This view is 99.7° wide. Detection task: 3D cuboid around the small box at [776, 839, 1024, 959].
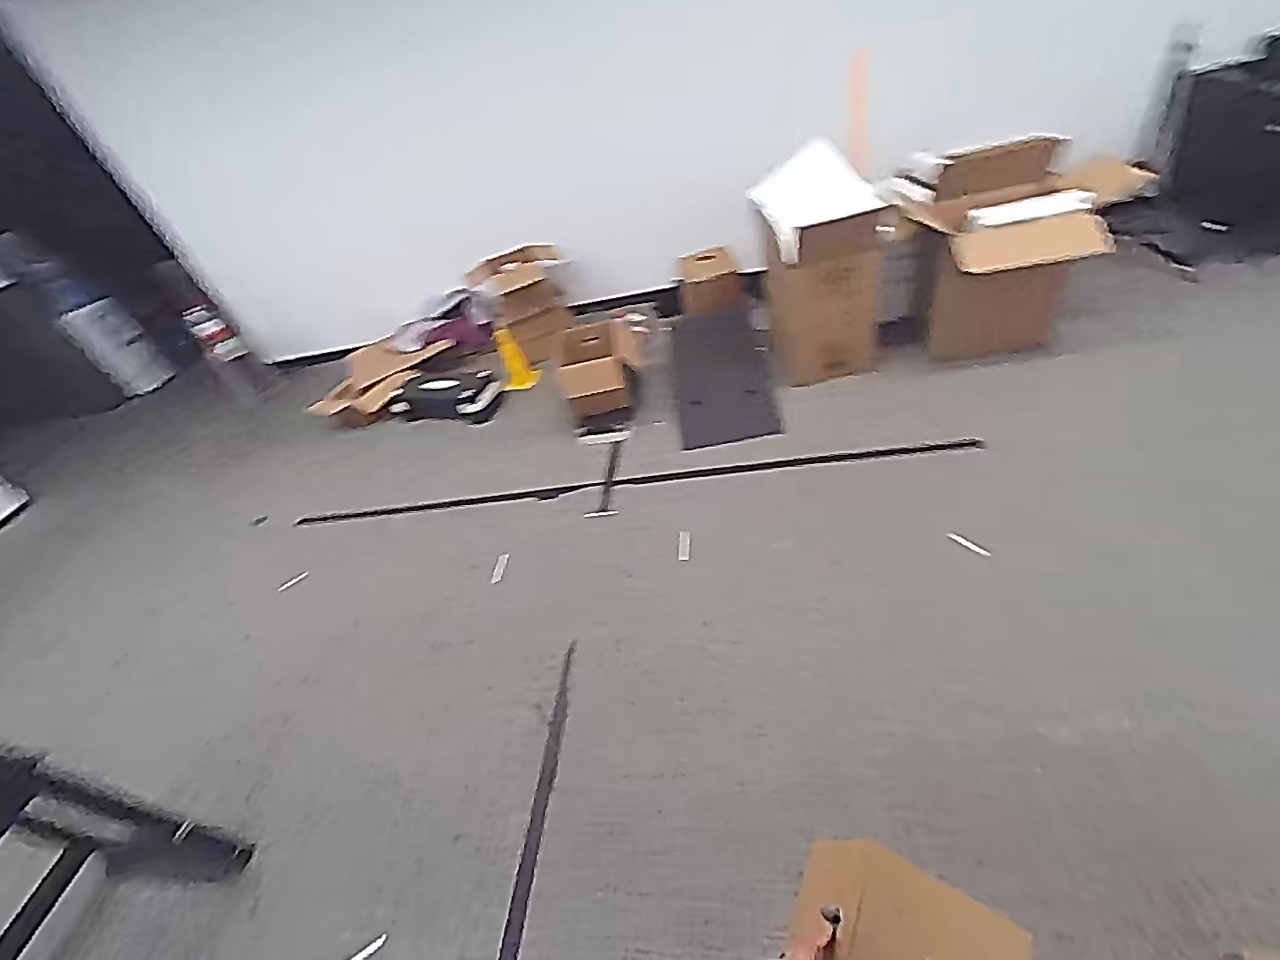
[{"bbox_3d":[0.255,0.507,0.560,0.168,0.176,0.179,26,58,11],"label":"small box"}]
